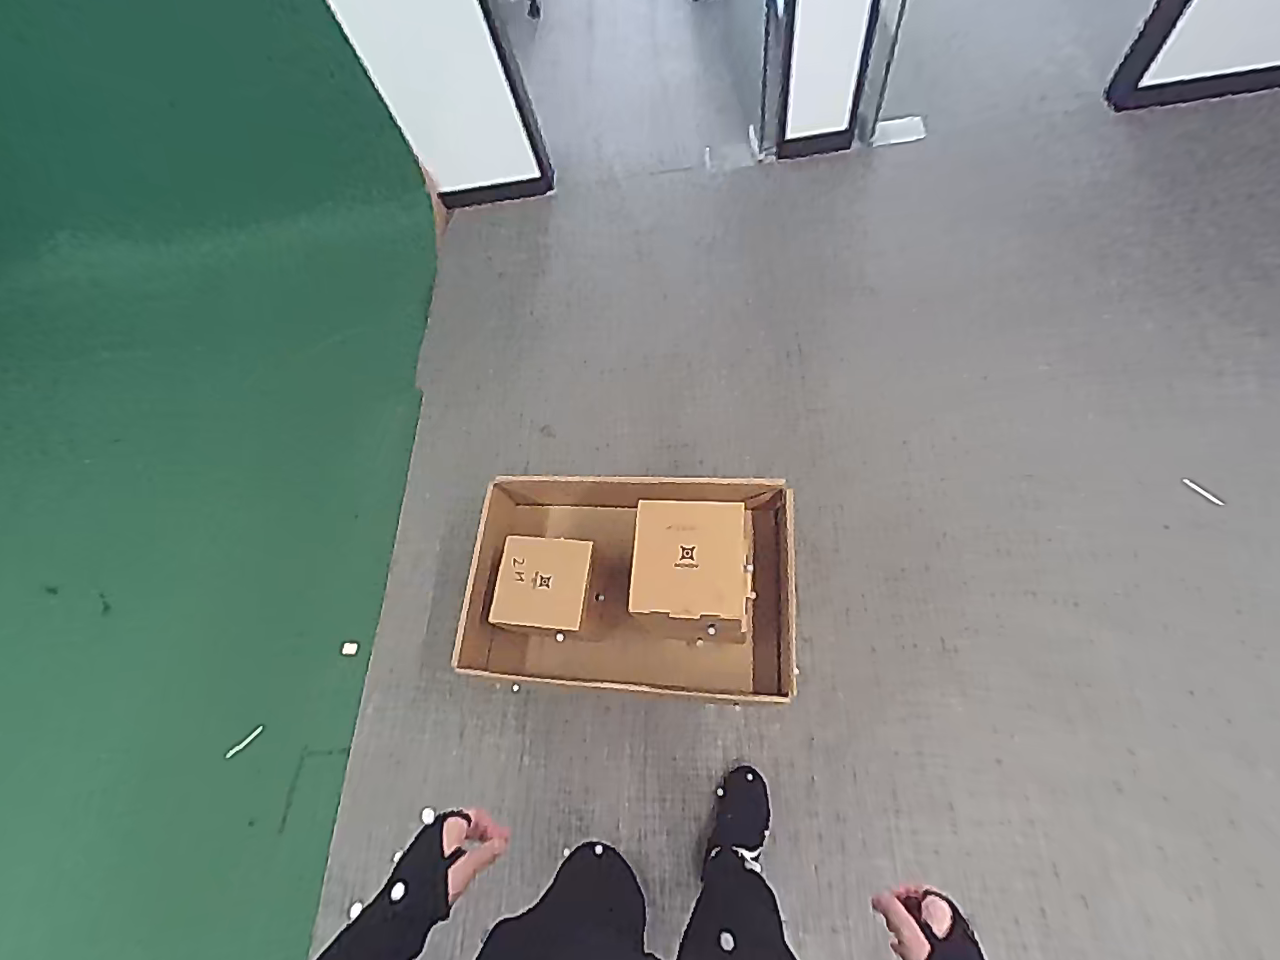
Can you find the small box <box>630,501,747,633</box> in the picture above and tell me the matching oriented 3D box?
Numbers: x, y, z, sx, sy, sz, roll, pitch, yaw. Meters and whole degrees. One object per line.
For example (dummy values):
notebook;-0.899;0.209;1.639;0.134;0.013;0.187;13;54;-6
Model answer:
small box;0.086;0.145;0.872;0.168;0.176;0.179;2;67;10
